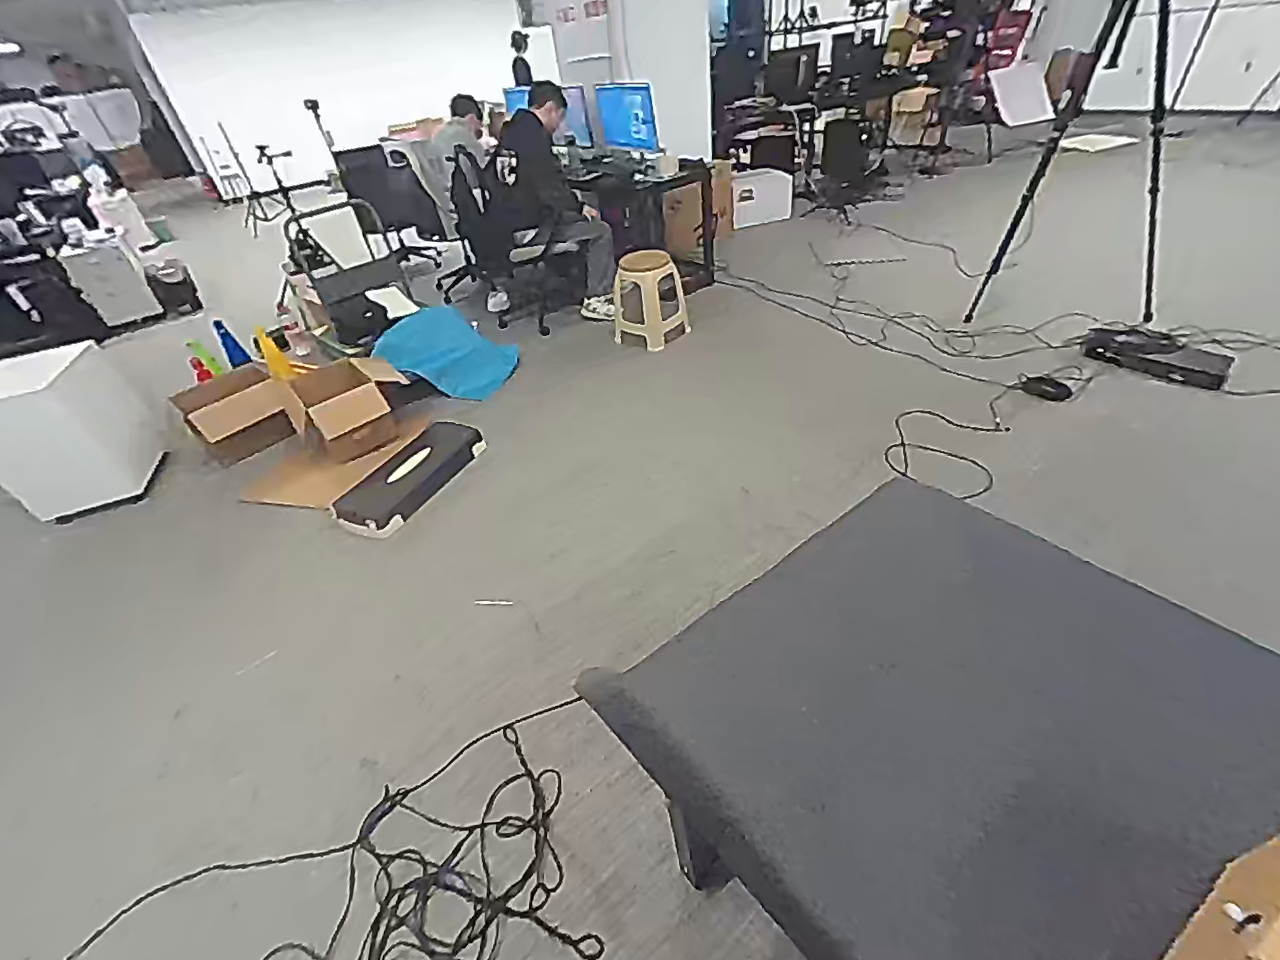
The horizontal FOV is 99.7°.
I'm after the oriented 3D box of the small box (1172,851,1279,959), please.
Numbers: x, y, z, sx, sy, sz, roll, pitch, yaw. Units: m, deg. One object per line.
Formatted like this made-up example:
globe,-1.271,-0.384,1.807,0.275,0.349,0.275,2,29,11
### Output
small box,0.518,0.376,0.369,0.179,0.176,0.168,-26,42,-20
